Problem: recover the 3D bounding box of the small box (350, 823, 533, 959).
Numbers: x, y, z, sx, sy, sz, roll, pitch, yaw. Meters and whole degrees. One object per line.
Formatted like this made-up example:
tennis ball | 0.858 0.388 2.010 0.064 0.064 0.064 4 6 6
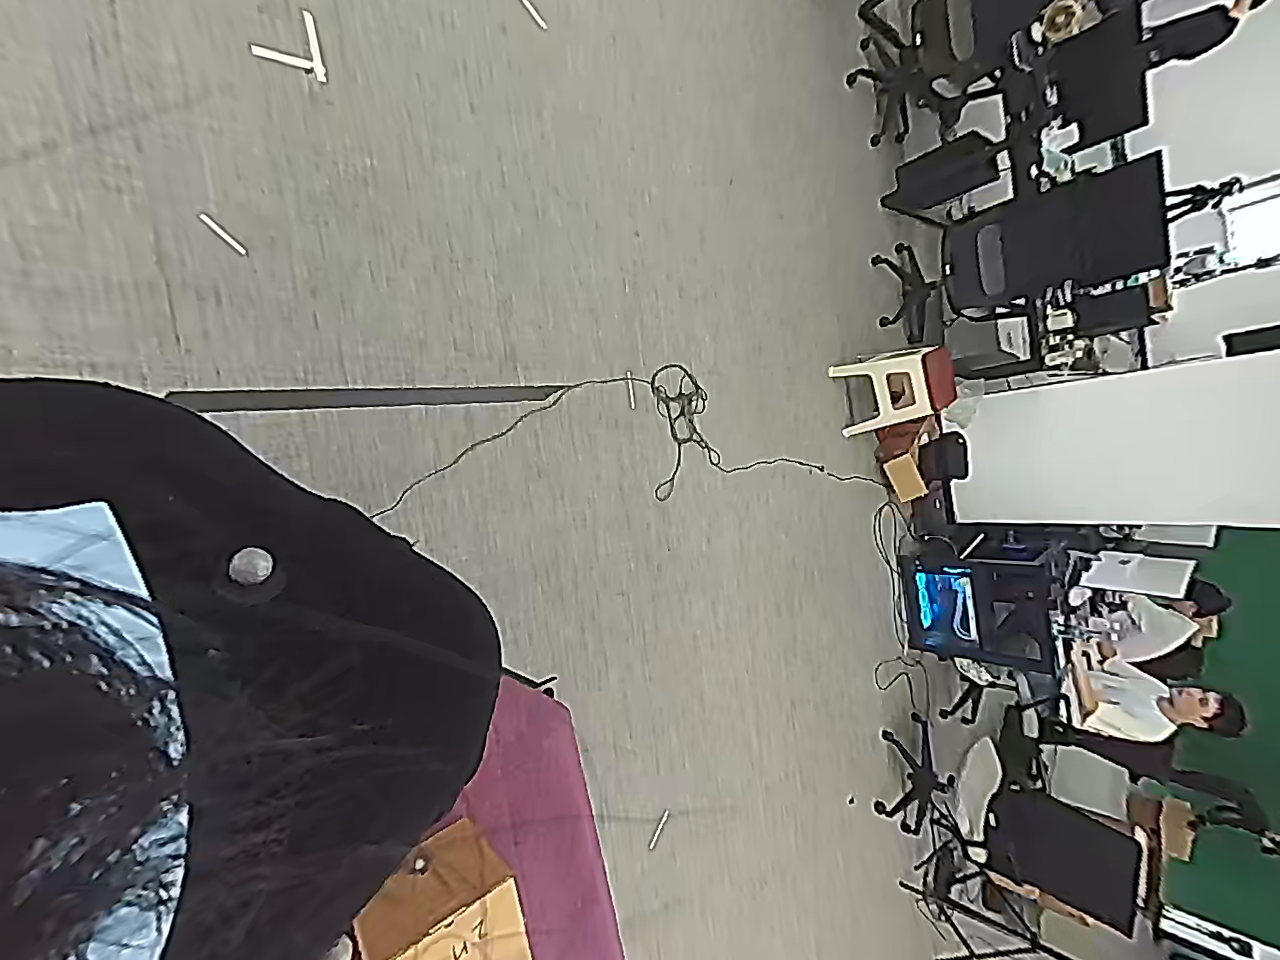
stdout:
small box | -0.252 0.592 0.691 0.168 0.176 0.179 -14 96 -39
